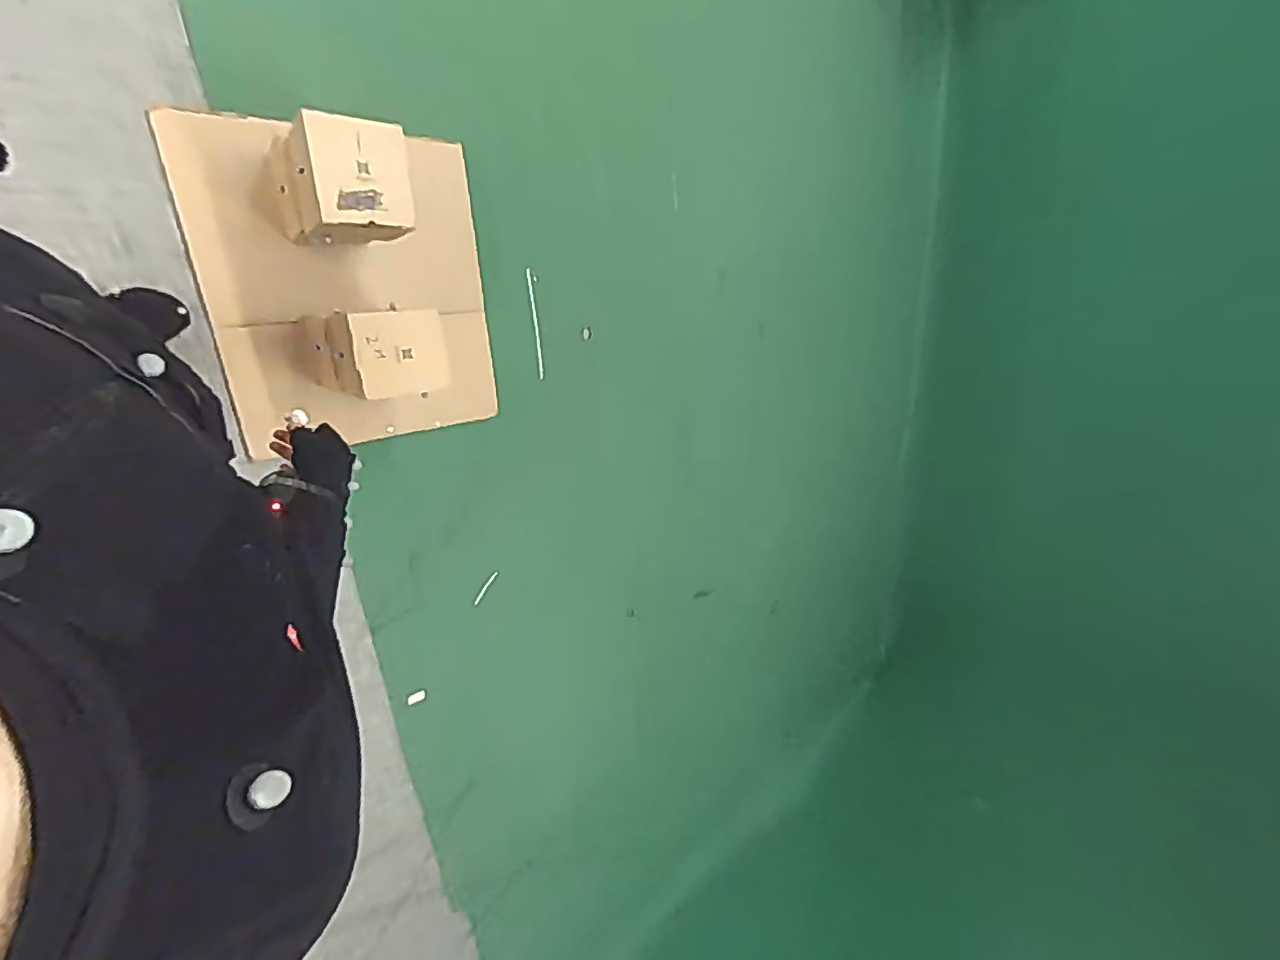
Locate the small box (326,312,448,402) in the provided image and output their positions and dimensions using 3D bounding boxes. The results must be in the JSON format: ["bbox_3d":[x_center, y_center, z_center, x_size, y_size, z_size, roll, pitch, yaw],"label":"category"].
[{"bbox_3d":[-0.528,-0.264,1.130,0.179,0.176,0.168,-17,113,-37],"label":"small box"}]

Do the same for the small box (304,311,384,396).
[{"bbox_3d":[-0.643,-0.298,1.245,0.179,0.176,0.168,-19,115,-35],"label":"small box"}]

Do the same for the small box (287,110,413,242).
[{"bbox_3d":[-0.549,-0.558,1.023,0.168,0.176,0.179,-14,109,-38],"label":"small box"}]
